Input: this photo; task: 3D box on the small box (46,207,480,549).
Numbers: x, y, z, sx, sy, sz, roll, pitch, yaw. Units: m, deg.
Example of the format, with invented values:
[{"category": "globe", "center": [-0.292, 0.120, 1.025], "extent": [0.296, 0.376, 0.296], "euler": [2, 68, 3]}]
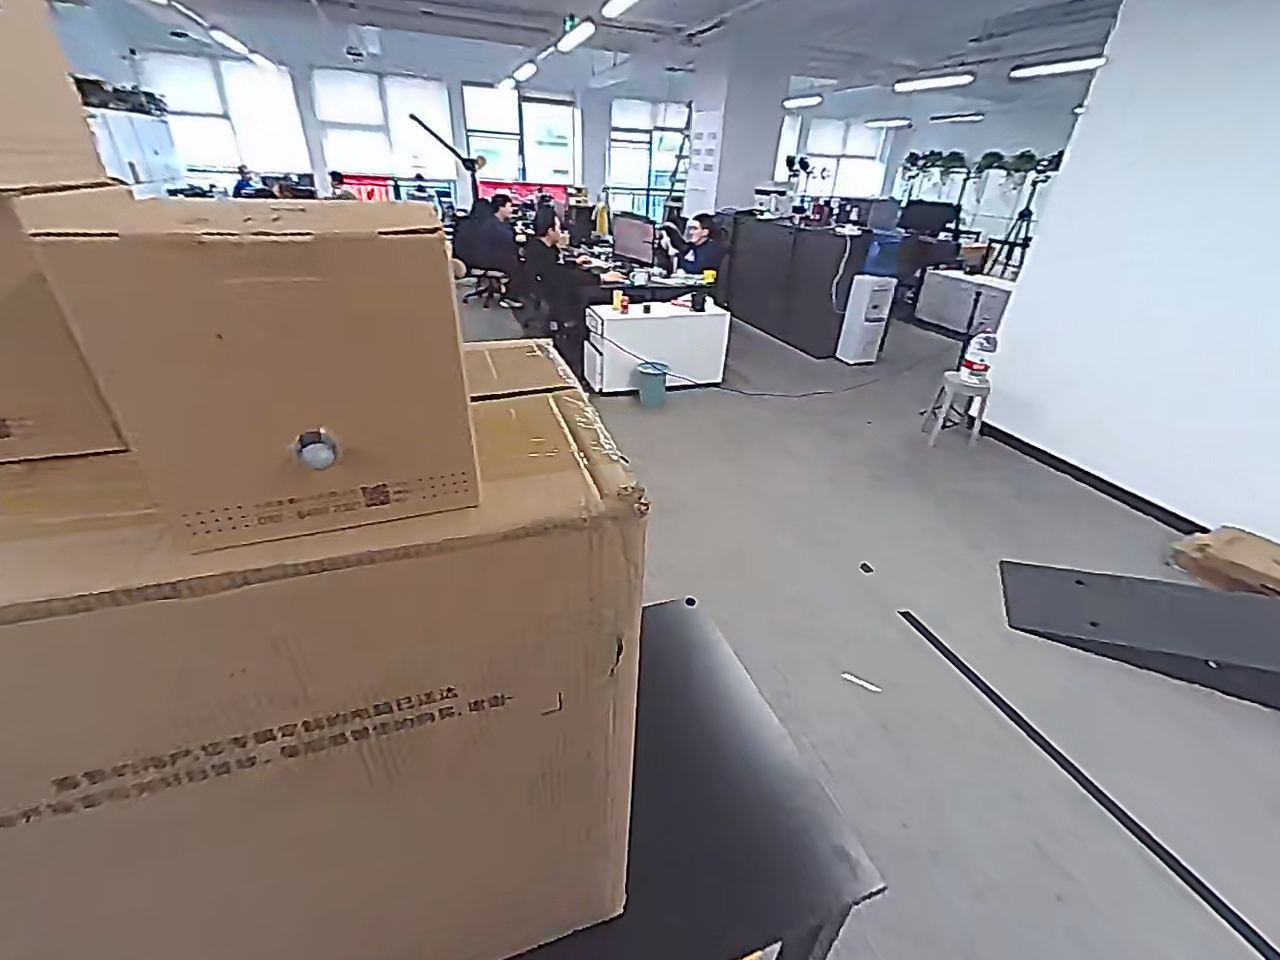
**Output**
[{"category": "small box", "center": [-0.208, -0.080, 0.359], "extent": [0.168, 0.176, 0.179], "euler": [-10, 33, -19]}]

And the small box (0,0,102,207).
[{"category": "small box", "center": [-0.460, -0.247, 0.299], "extent": [0.168, 0.176, 0.179], "euler": [-9, 32, -21]}]

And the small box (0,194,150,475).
[{"category": "small box", "center": [-0.471, -0.112, 0.393], "extent": [0.168, 0.176, 0.179], "euler": [-11, 33, -22]}]
